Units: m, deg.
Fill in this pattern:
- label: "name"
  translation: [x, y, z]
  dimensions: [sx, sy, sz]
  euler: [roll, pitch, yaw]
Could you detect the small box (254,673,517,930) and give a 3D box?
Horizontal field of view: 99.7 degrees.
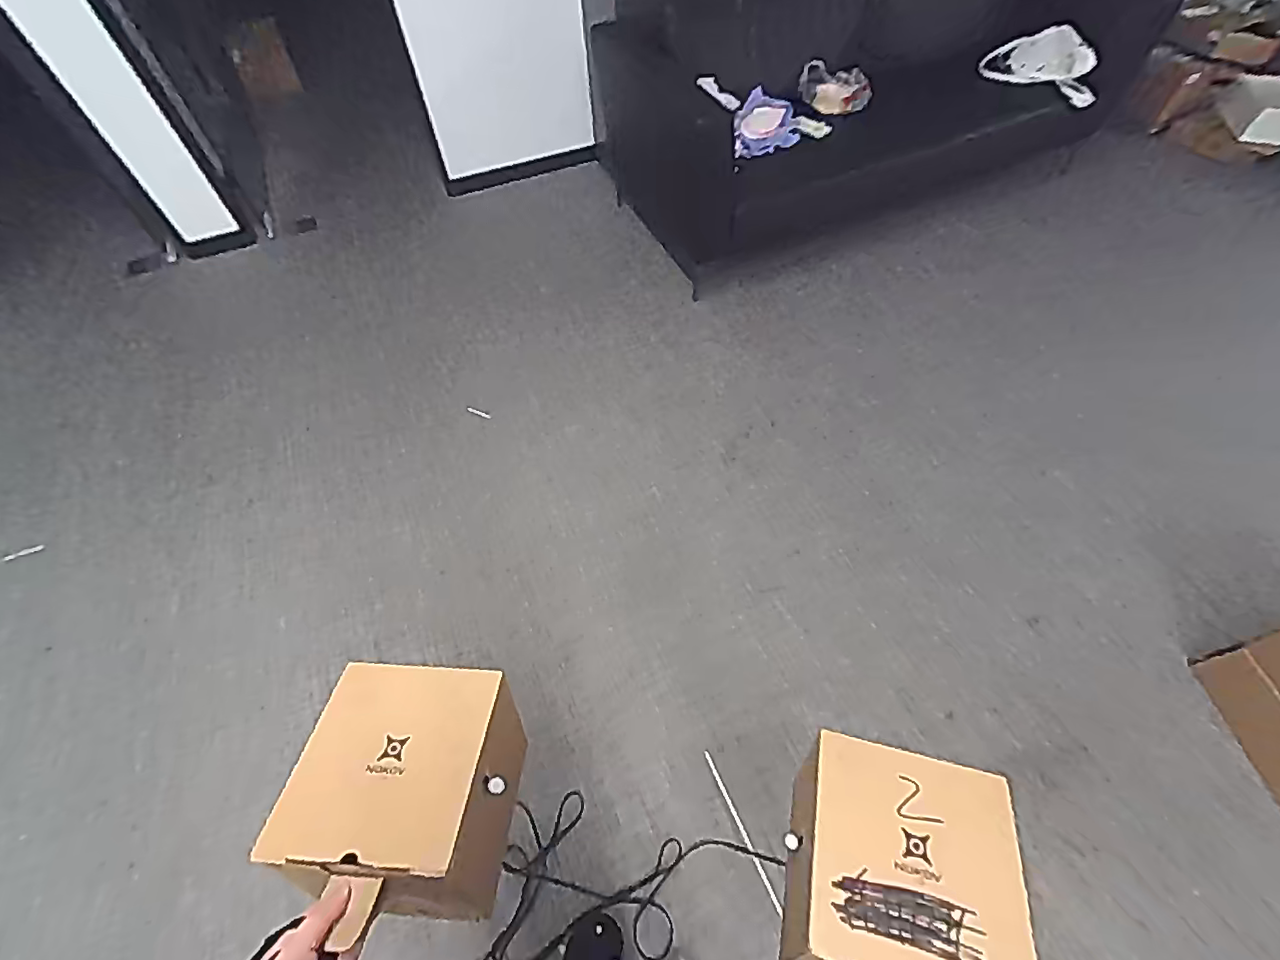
- label: "small box"
  translation: [-0.230, 0.324, 0.551]
  dimensions: [0.168, 0.176, 0.179]
  euler: [2, 41, 3]
